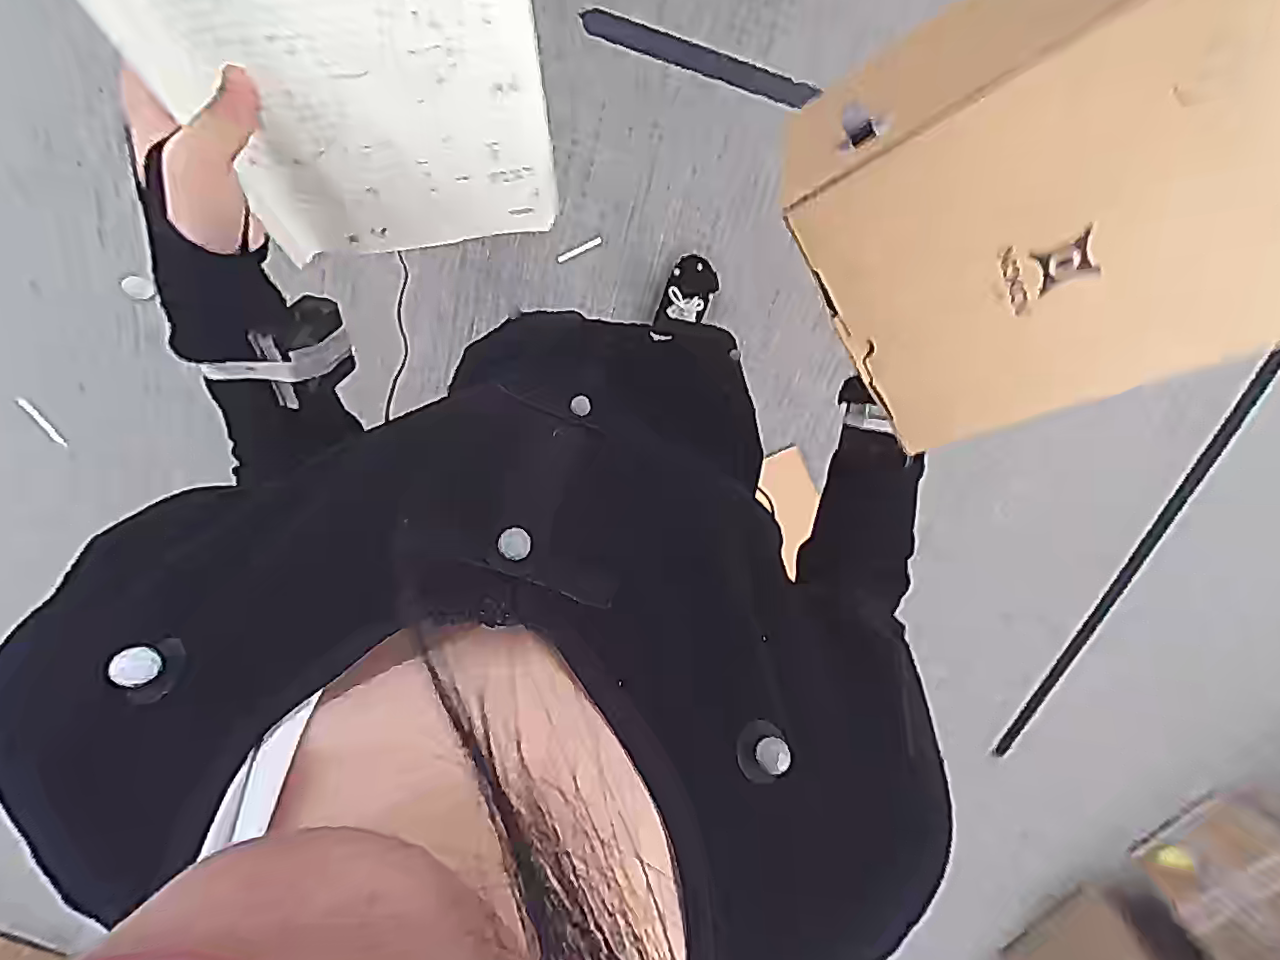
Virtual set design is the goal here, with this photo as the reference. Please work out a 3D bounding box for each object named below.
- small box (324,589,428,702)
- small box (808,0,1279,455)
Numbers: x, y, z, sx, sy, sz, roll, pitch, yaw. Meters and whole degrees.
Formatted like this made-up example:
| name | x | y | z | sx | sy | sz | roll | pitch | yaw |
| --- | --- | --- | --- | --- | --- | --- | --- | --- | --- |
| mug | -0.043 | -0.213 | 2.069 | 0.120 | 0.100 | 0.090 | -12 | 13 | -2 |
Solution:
| name | x | y | z | sx | sy | sz | roll | pitch | yaw |
| --- | --- | --- | --- | --- | --- | --- | --- | --- | --- |
| small box | -0.613 | 0.381 | 1.271 | 0.168 | 0.176 | 0.179 | 13 | 111 | -3 |
| small box | 0.203 | -0.147 | 0.289 | 0.179 | 0.176 | 0.168 | -19 | 126 | 34 |
